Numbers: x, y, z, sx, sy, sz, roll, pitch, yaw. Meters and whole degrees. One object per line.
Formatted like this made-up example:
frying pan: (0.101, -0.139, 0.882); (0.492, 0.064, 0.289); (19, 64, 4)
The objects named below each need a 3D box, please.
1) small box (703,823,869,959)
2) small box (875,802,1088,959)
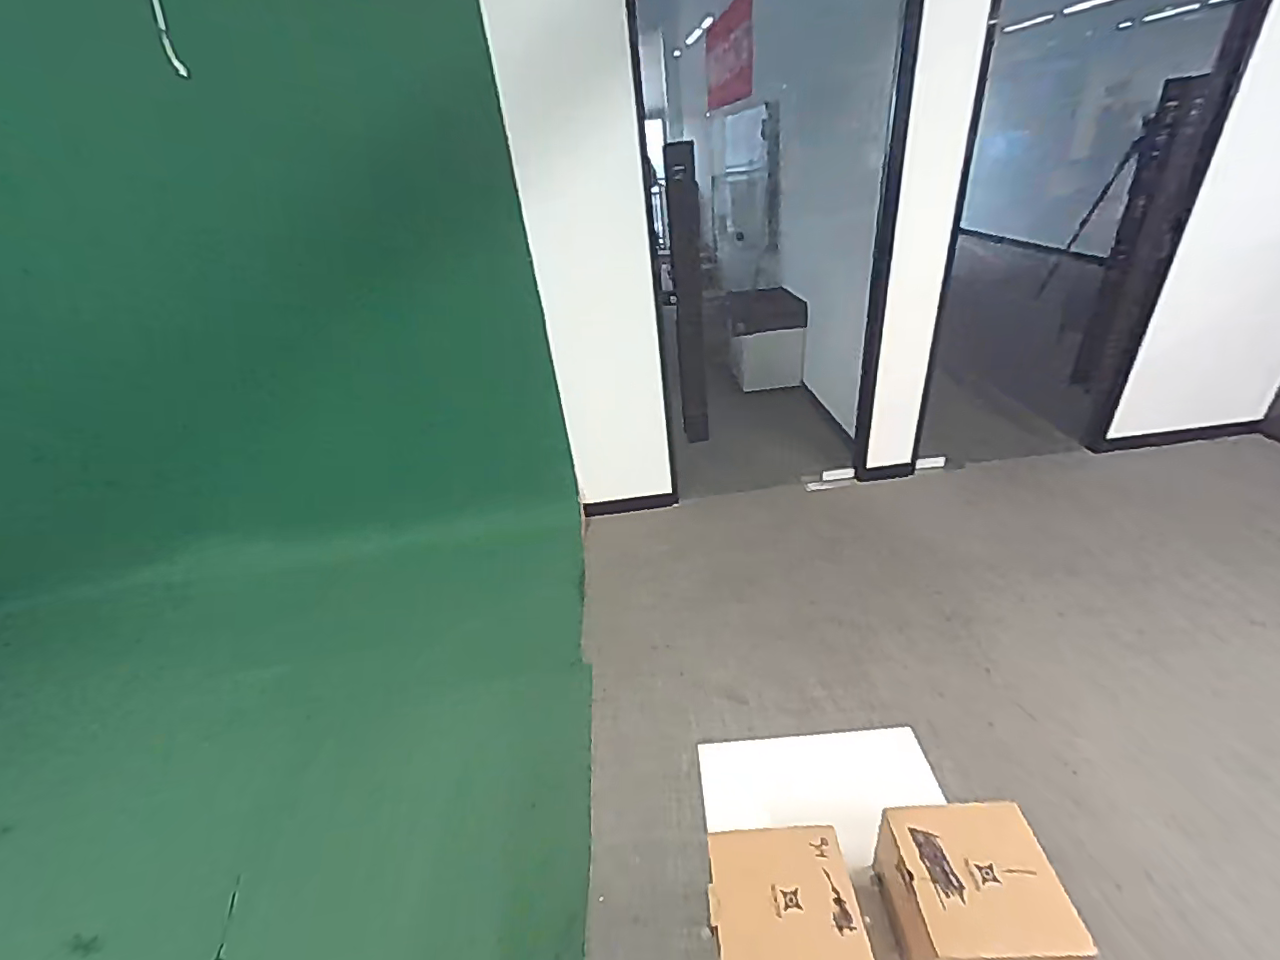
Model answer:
small box: (0.181, 0.583, 0.710); (0.179, 0.176, 0.168); (-4, 32, 2)
small box: (0.423, 0.554, 0.711); (0.179, 0.176, 0.168); (-5, 31, 4)
